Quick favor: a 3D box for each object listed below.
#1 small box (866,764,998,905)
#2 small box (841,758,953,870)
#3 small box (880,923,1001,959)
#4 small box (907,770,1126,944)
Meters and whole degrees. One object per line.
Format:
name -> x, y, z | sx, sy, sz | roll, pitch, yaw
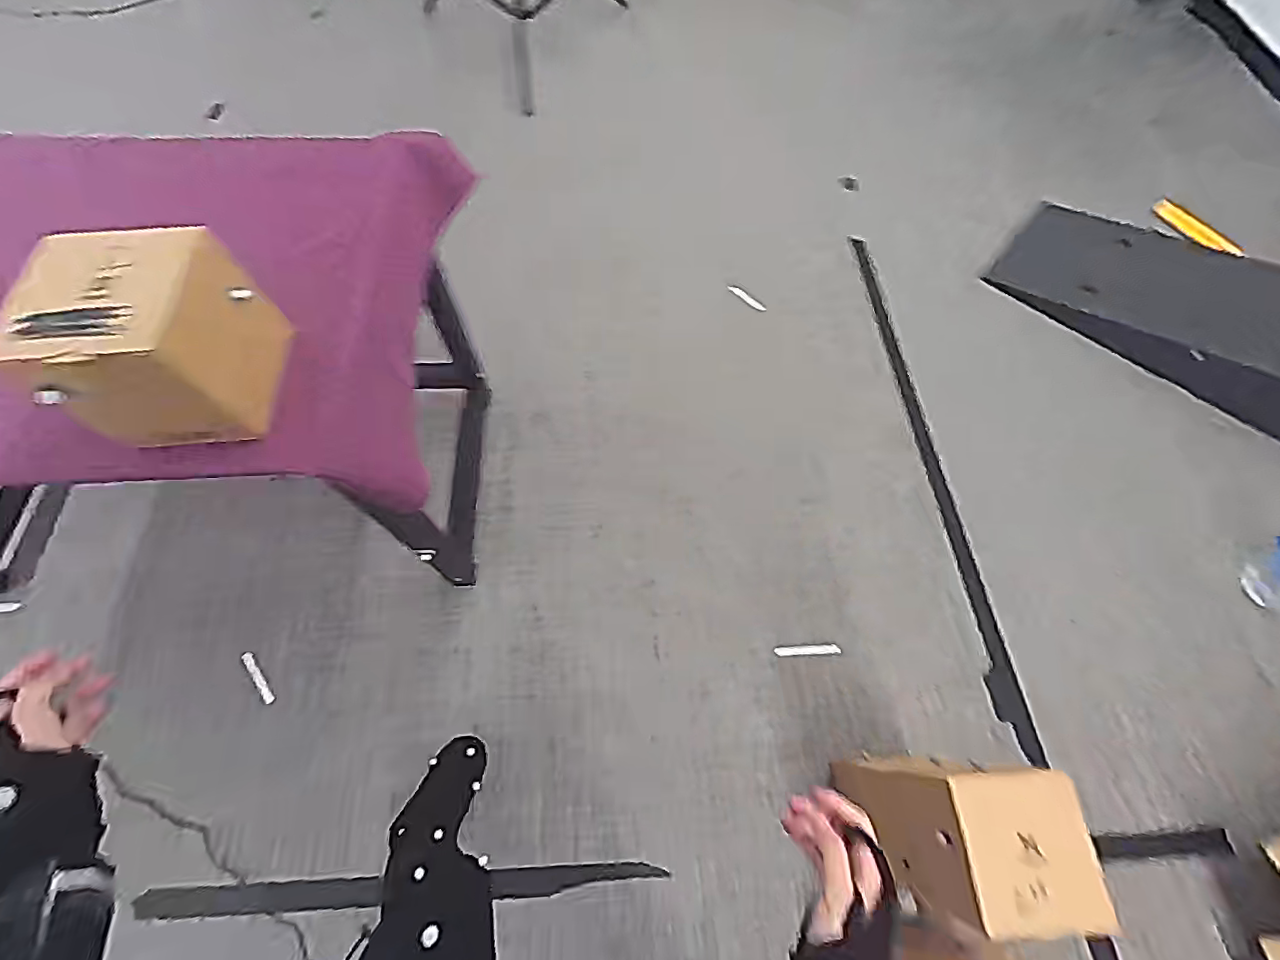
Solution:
small box -> 0.505, 0.583, 0.913 | 0.168, 0.176, 0.179 | -3, 66, -2
small box -> 0.512, 0.648, 1.062 | 0.179, 0.176, 0.168 | -3, 66, -3
small box -> 0.539, 0.911, 0.939 | 0.168, 0.176, 0.179 | 2, 66, 1
small box -> 0.507, 0.513, 0.763 | 0.168, 0.176, 0.179 | -2, 67, -1
